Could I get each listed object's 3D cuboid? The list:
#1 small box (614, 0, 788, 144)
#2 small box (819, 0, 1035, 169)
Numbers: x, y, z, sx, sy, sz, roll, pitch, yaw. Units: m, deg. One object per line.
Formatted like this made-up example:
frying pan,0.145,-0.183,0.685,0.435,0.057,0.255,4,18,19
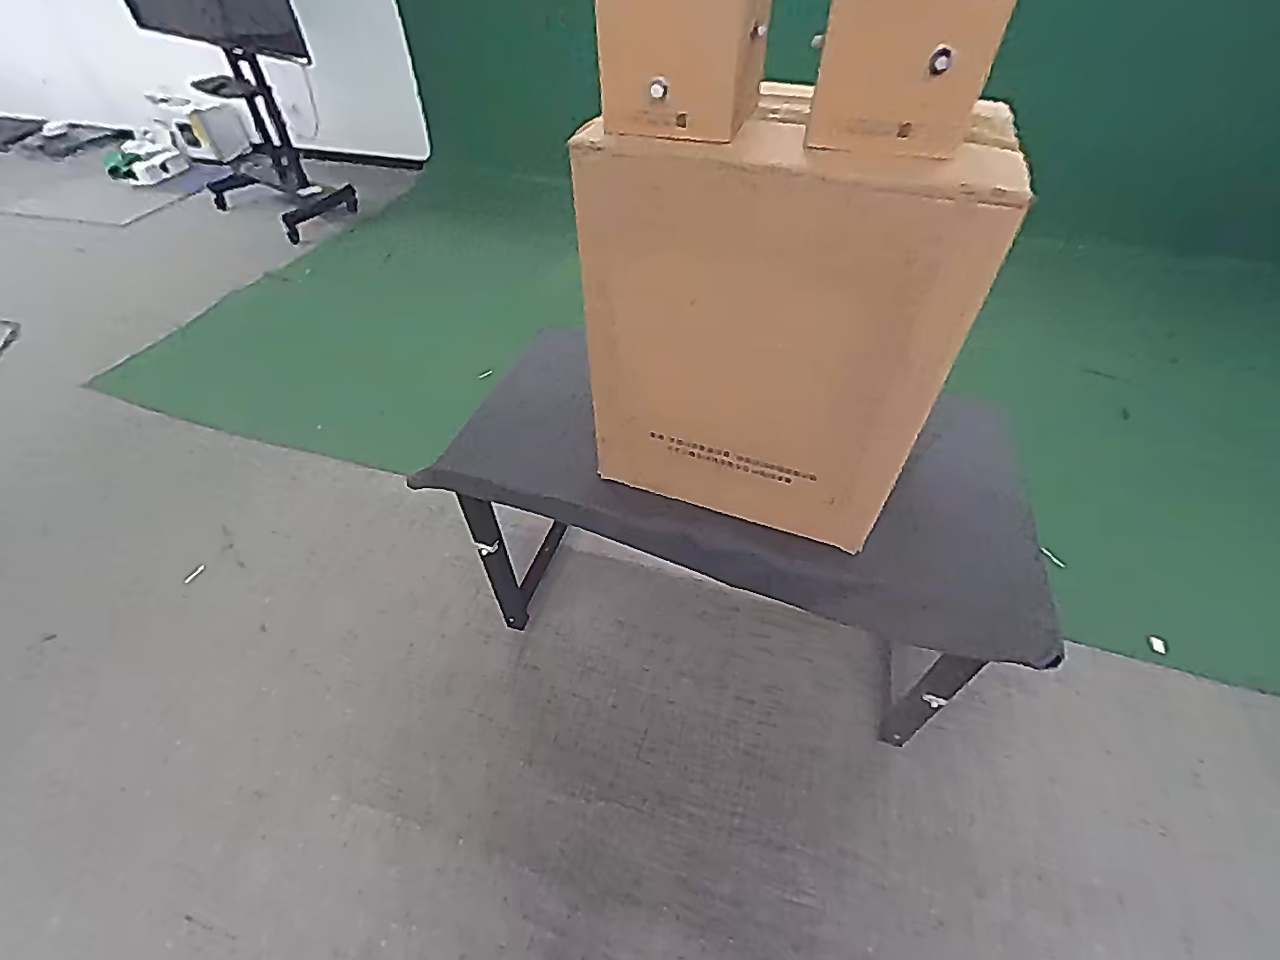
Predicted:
small box,0.073,-0.531,0.648,0.168,0.176,0.179,17,52,16
small box,0.309,-0.474,0.606,0.168,0.176,0.179,15,50,9
